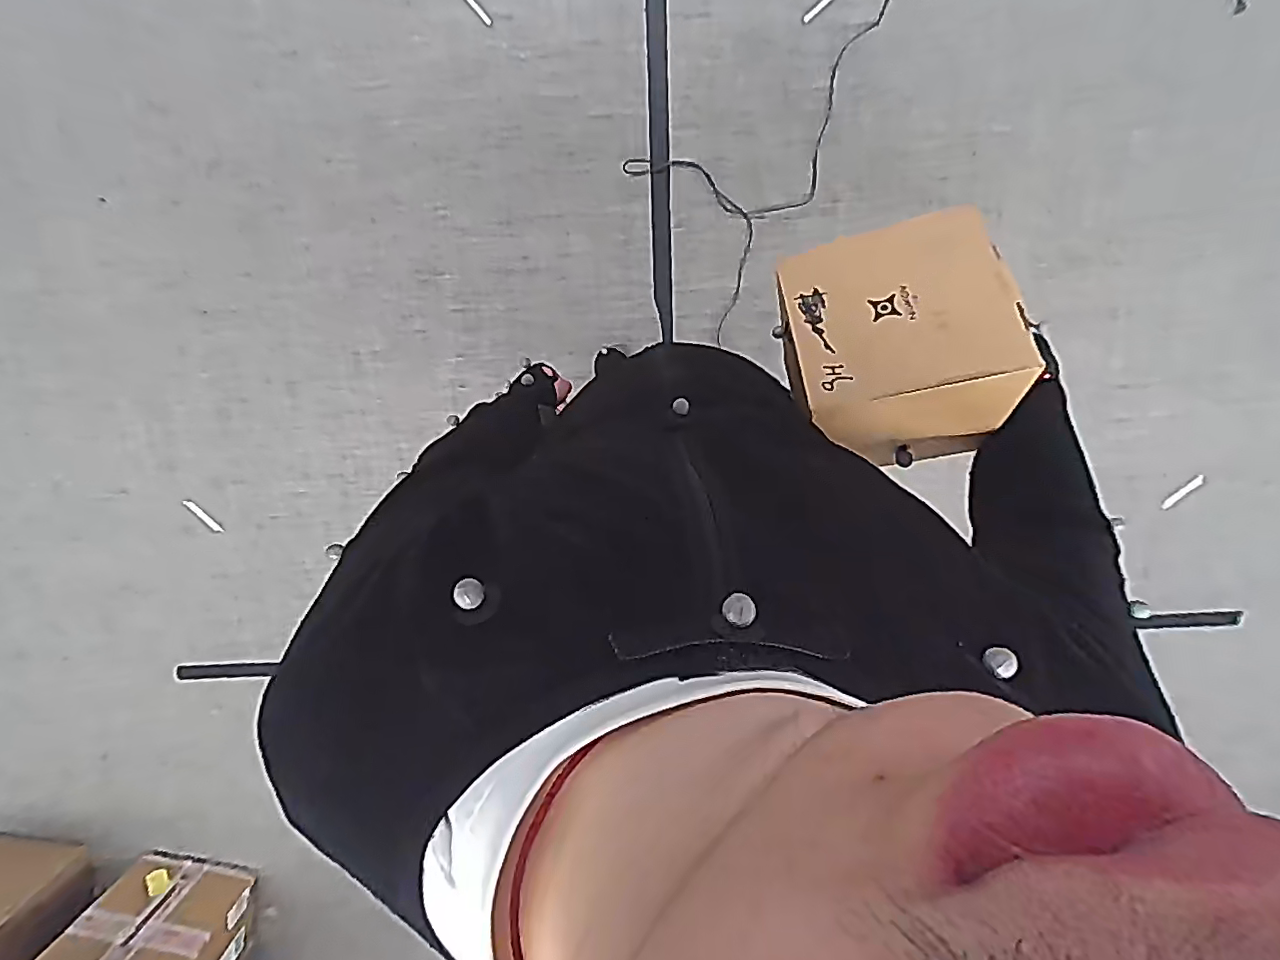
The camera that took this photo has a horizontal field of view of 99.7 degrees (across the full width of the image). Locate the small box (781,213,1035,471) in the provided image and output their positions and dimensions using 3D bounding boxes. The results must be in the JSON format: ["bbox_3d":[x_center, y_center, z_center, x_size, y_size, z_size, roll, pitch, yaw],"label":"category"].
[{"bbox_3d":[0.245,-0.123,0.545,0.179,0.176,0.168,-11,67,13],"label":"small box"}]
